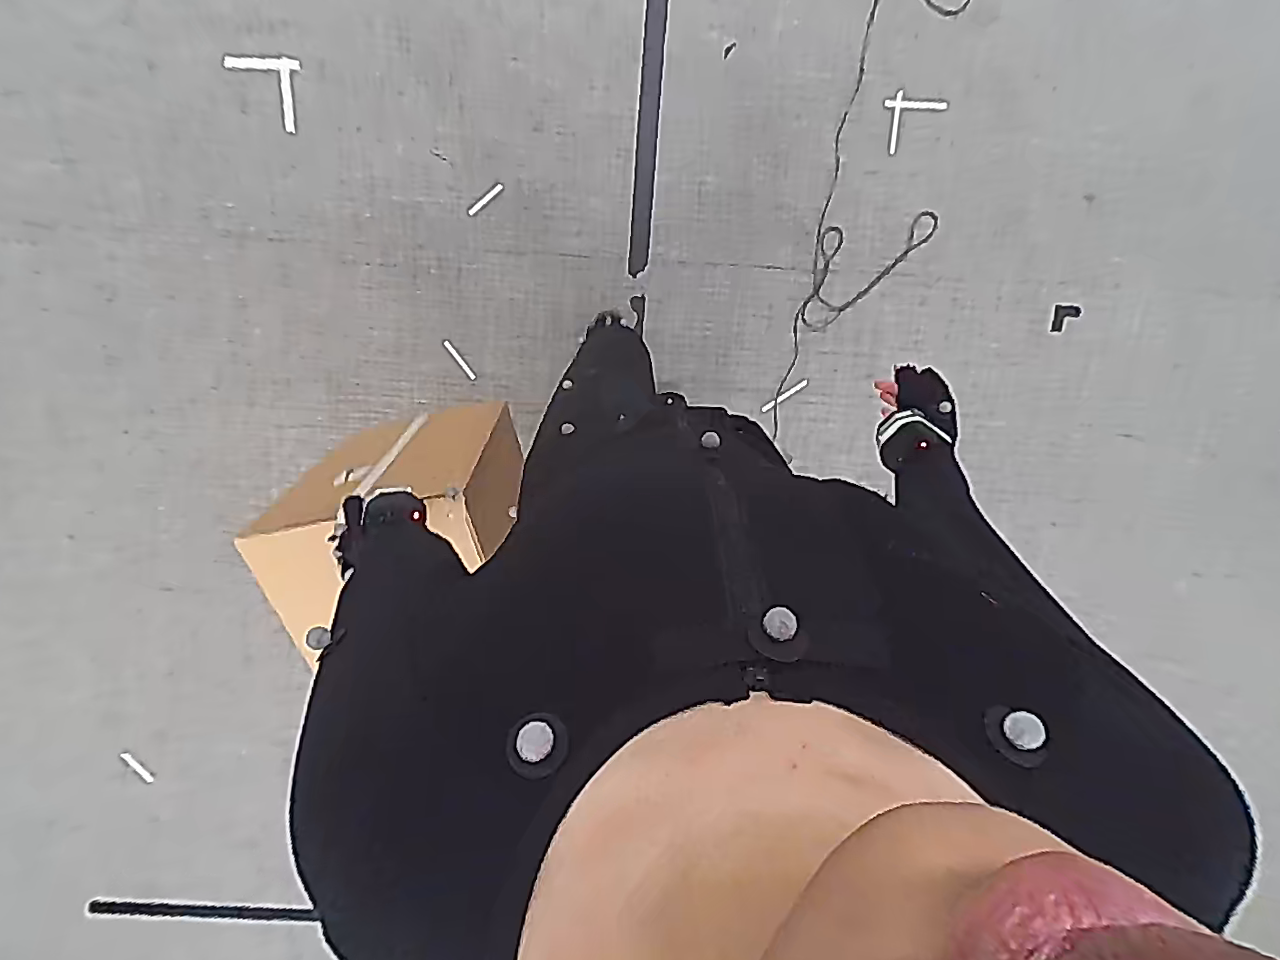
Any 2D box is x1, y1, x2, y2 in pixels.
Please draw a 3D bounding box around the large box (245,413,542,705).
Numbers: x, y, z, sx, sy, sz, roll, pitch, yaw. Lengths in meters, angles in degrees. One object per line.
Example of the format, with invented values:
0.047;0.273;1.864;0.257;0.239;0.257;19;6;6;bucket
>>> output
-0.371;0.111;0.960;0.320;0.408;0.320;-14;115;1;large box
